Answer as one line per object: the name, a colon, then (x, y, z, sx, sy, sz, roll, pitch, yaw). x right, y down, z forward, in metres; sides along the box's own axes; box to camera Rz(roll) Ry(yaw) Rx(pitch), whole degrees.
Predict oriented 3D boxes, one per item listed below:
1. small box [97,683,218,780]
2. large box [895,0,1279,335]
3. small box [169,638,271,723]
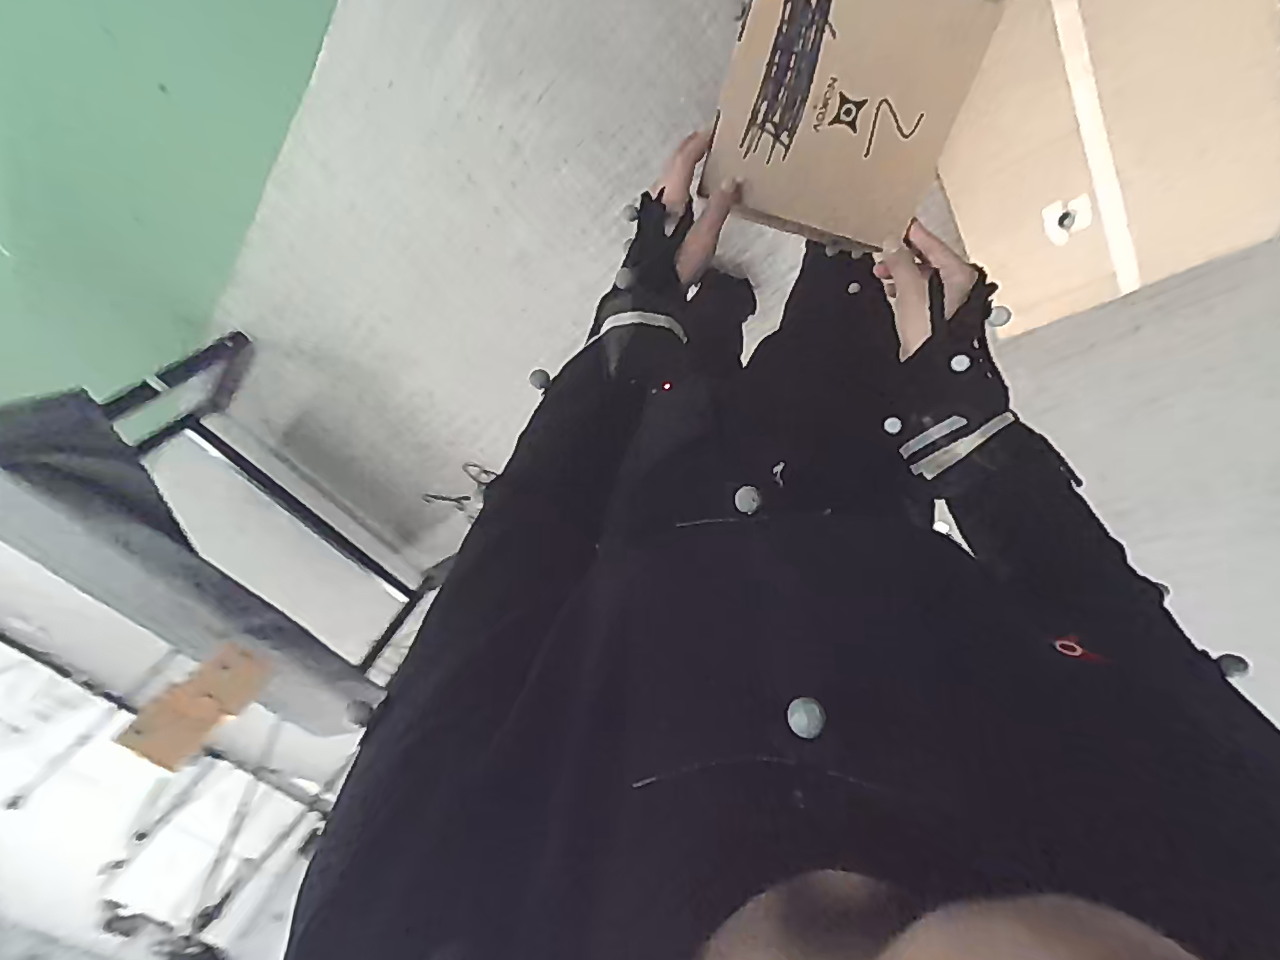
small box: (-1.273, 0.668, 1.436, 0.179, 0.176, 0.168, 43, 132, -15)
large box: (0.595, -0.496, 0.759, 0.320, 0.320, 0.408, -20, 121, 35)
small box: (-1.210, 0.575, 1.555, 0.179, 0.176, 0.168, -24, 116, 39)
